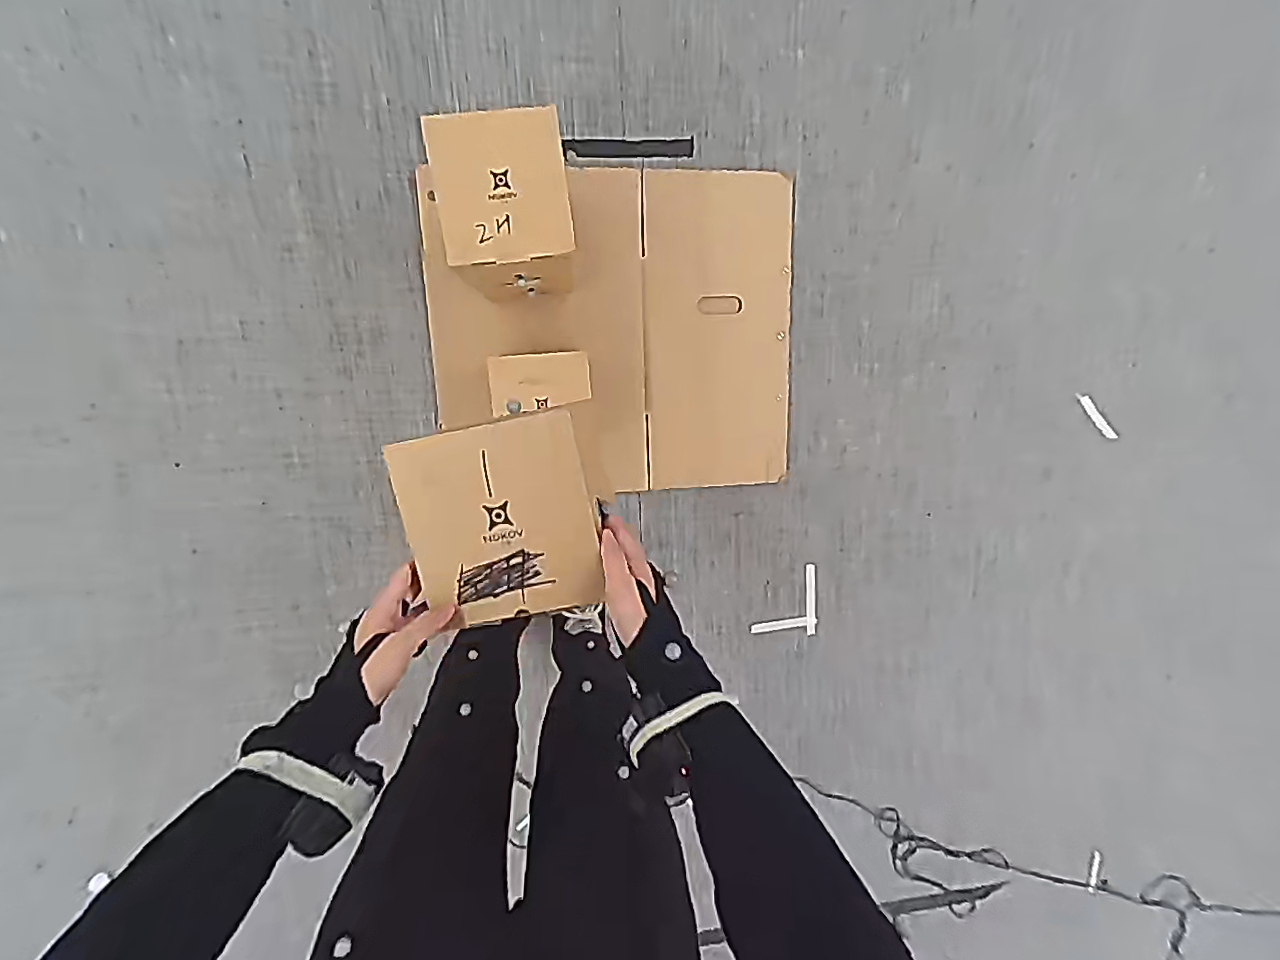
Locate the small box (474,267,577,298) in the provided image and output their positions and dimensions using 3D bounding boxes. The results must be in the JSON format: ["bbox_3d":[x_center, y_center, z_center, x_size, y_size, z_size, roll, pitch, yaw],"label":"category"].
[{"bbox_3d":[-0.200,-0.408,0.908,0.168,0.176,0.179,-11,103,-6],"label":"small box"}]

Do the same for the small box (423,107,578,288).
[{"bbox_3d":[-0.181,-0.377,0.747,0.168,0.176,0.179,-9,102,-6],"label":"small box"}]

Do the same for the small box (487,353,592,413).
[{"bbox_3d":[-0.171,-0.133,0.969,0.168,0.176,0.179,-6,102,-8],"label":"small box"}]

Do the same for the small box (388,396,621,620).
[{"bbox_3d":[-0.118,0.016,0.550,0.168,0.176,0.179,-11,99,3],"label":"small box"}]
